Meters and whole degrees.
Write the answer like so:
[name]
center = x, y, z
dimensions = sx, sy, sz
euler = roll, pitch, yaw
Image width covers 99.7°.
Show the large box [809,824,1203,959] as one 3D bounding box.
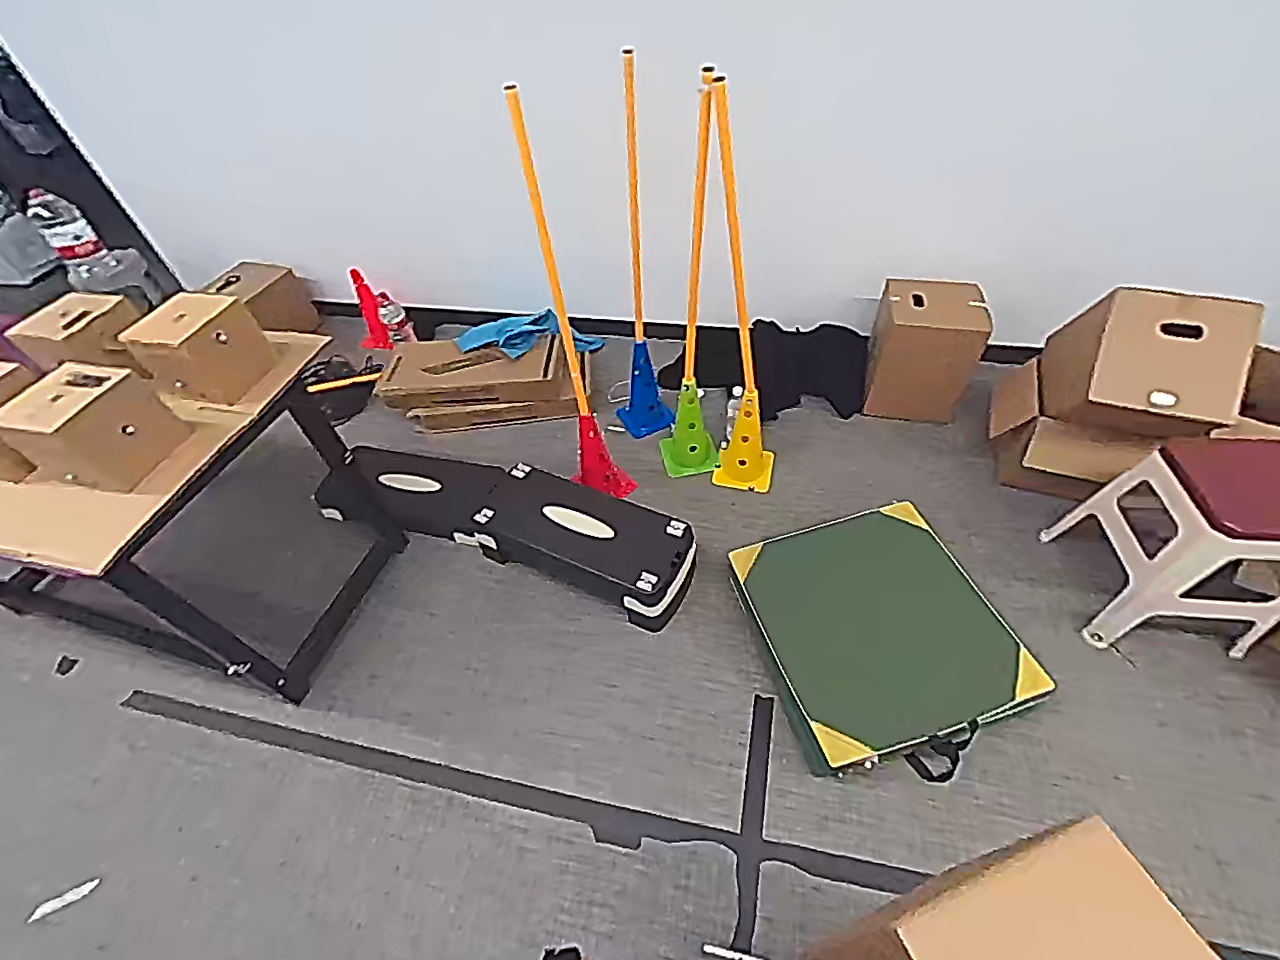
[large box]
center = 0.464, 0.690, 0.665
dimensions = 0.320, 0.408, 0.320
euler = -12, 47, -13
